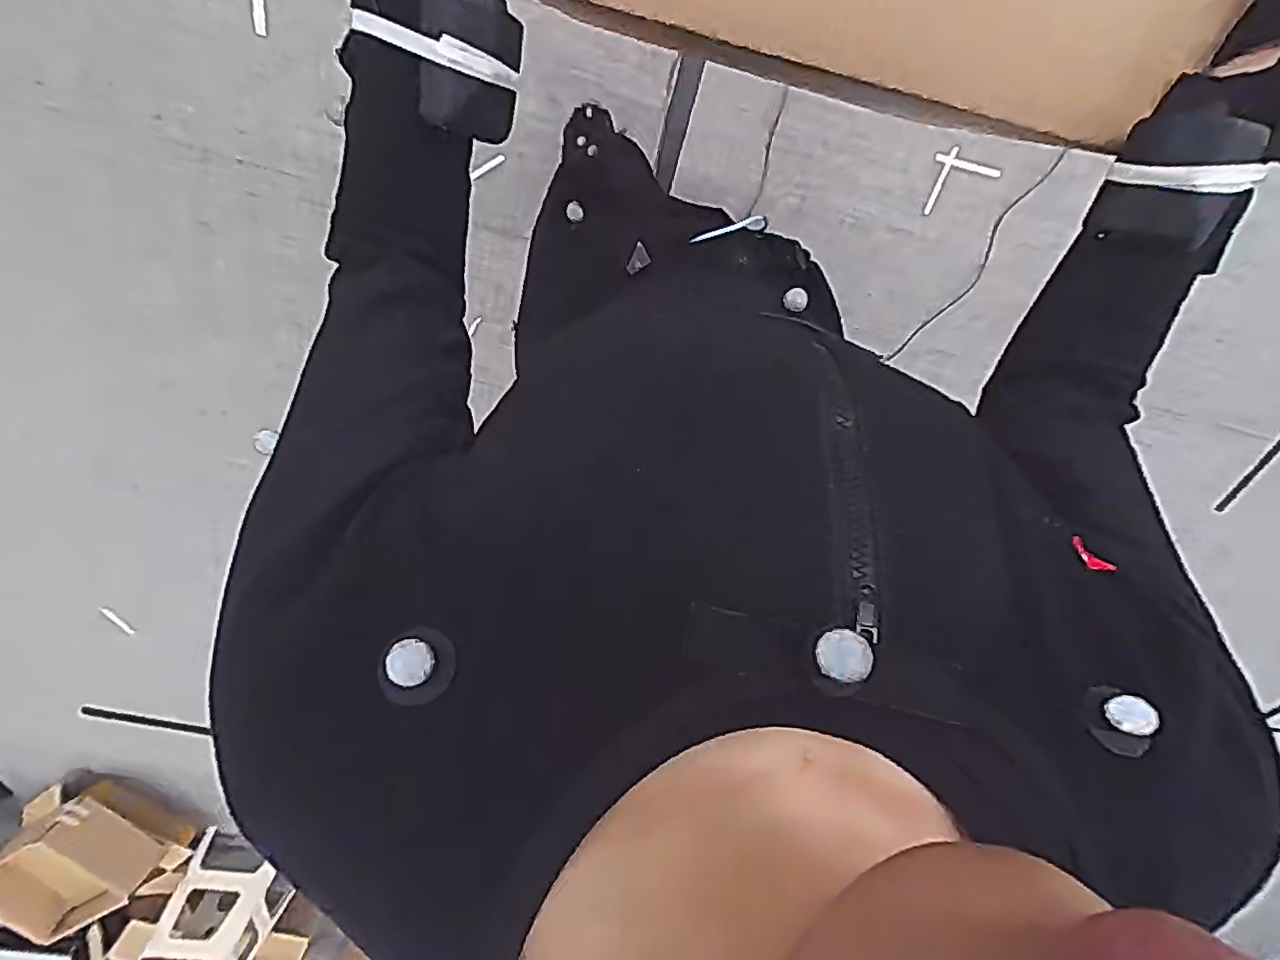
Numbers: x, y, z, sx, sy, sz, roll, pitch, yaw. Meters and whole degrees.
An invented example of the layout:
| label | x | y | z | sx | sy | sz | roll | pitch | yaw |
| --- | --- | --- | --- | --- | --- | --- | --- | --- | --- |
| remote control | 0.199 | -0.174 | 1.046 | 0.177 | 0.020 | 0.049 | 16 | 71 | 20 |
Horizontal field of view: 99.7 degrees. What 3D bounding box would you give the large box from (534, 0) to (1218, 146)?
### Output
| label | x | y | z | sx | sy | sz | roll | pitch | yaw |
| --- | --- | --- | --- | --- | --- | --- | --- | --- | --- |
| large box | 0.146 | -0.453 | 0.352 | 0.408 | 0.320 | 0.320 | 11 | 127 | -6 |
